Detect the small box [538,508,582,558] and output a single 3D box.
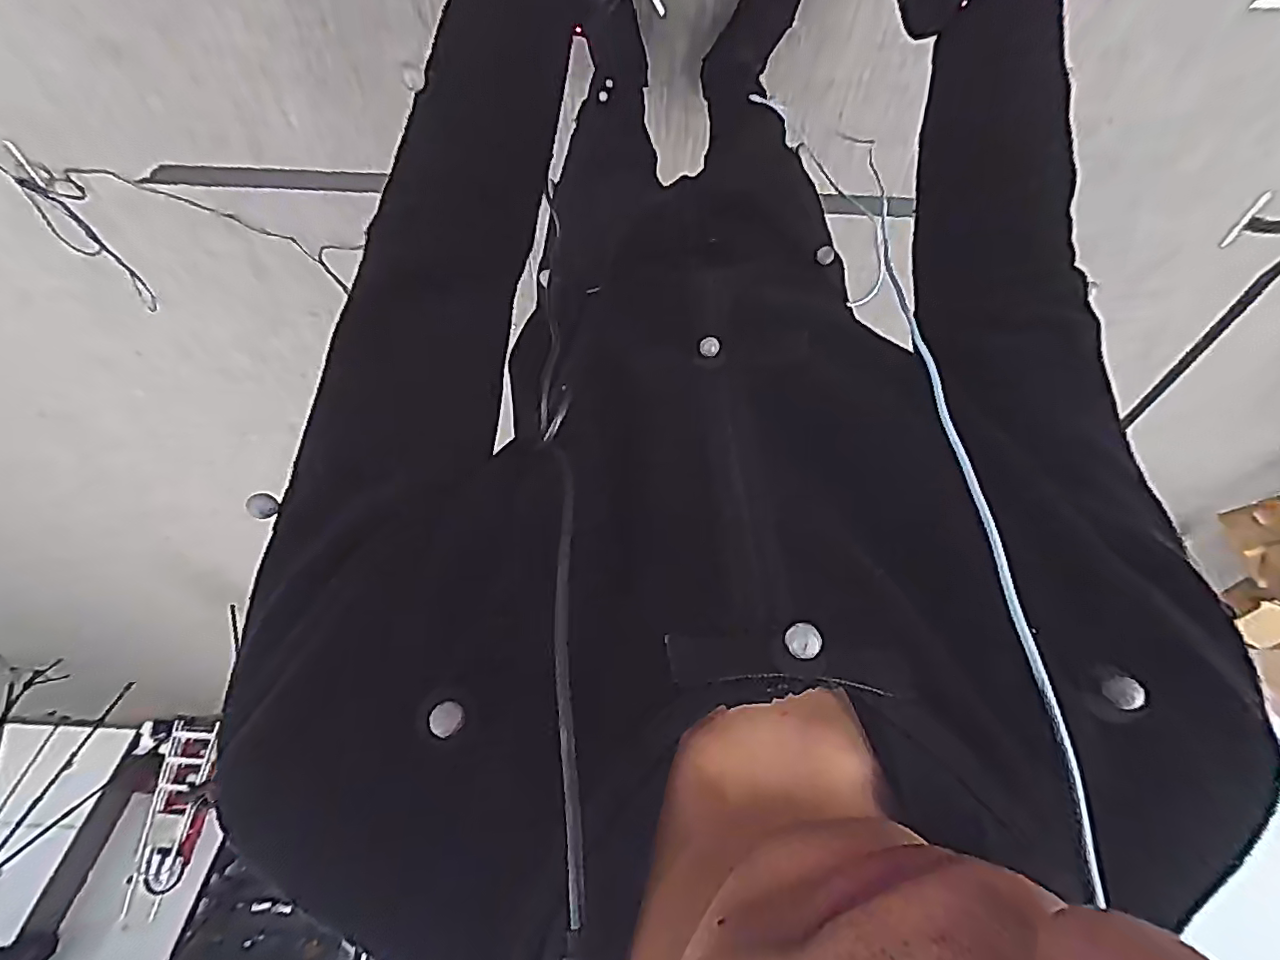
[{"bbox_3d":[-0.364,0.245,2.509,0.179,0.176,0.168,2,141,2],"label":"small box"}]
